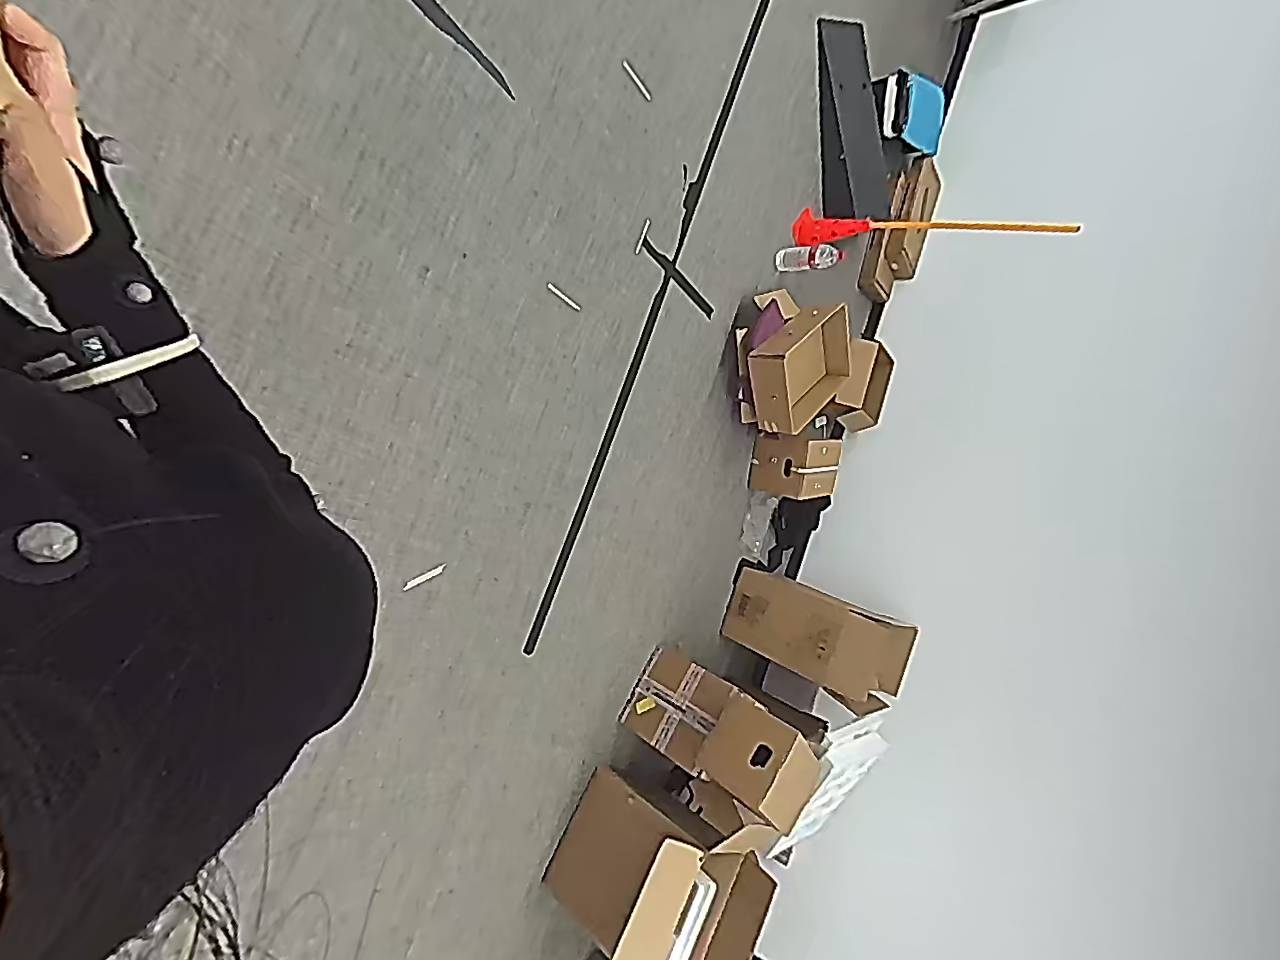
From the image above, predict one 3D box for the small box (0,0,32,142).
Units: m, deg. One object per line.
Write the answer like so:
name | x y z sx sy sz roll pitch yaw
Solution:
small box | -0.367 -0.238 0.197 0.168 0.176 0.179 -14 113 -53
